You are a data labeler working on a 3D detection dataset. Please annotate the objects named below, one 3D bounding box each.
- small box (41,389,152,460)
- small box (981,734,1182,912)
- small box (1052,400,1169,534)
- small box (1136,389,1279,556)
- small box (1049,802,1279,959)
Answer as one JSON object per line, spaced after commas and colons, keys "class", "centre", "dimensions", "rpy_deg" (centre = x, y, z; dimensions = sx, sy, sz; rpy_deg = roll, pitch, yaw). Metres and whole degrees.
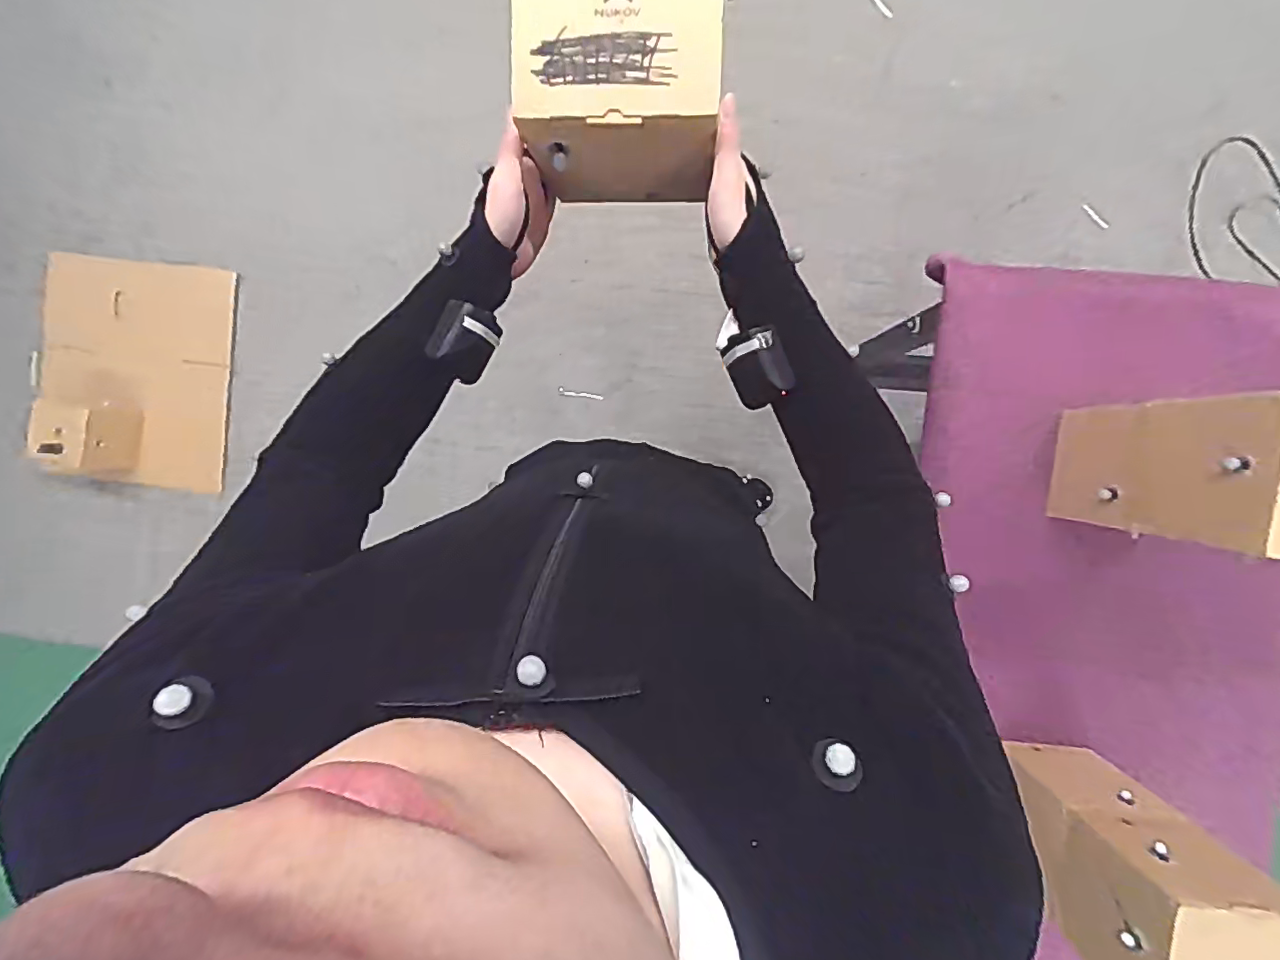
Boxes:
{"class": "small box", "centre": [-1.632, -0.164, 1.633], "dimensions": [0.168, 0.176, 0.179], "rpy_deg": [12, 94, 2]}
{"class": "small box", "centre": [0.664, 0.529, 0.837], "dimensions": [0.168, 0.176, 0.179], "rpy_deg": [5, 94, 3]}
{"class": "small box", "centre": [0.753, -0.016, 0.794], "dimensions": [0.168, 0.176, 0.179], "rpy_deg": [7, 94, 2]}
{"class": "small box", "centre": [0.741, -0.005, 0.633], "dimensions": [0.168, 0.176, 0.179], "rpy_deg": [7, 94, 3]}
{"class": "small box", "centre": [0.656, 0.541, 0.674], "dimensions": [0.168, 0.176, 0.179], "rpy_deg": [7, 94, 3]}
